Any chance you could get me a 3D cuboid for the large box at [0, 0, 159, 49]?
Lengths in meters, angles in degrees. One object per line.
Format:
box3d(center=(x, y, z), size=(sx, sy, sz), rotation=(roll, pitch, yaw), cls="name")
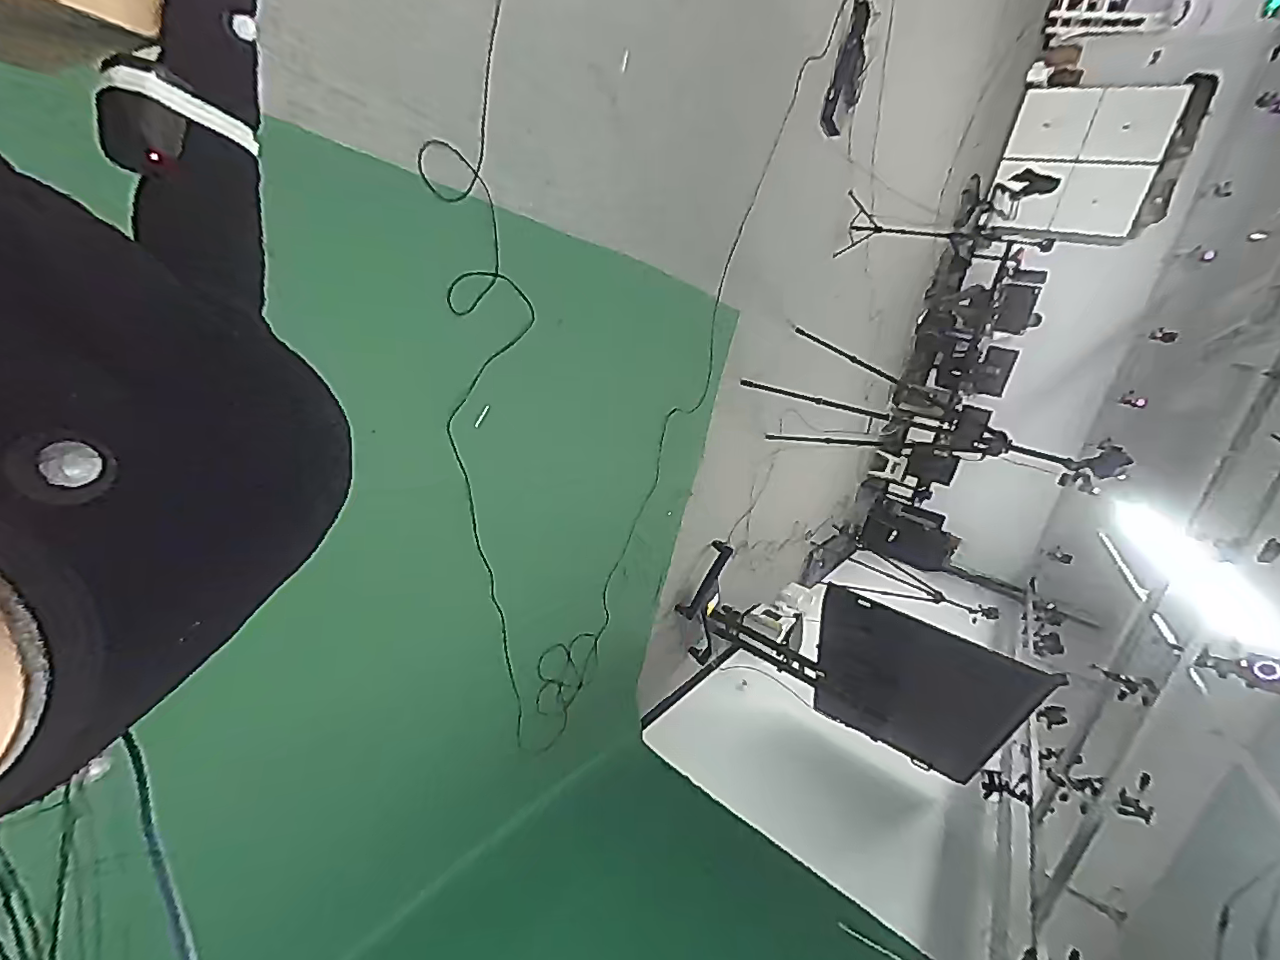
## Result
box3d(center=(-0.556, -0.482, 0.261), size=(0.408, 0.320, 0.320), rotation=(-17, 122, -55), cls="large box")
